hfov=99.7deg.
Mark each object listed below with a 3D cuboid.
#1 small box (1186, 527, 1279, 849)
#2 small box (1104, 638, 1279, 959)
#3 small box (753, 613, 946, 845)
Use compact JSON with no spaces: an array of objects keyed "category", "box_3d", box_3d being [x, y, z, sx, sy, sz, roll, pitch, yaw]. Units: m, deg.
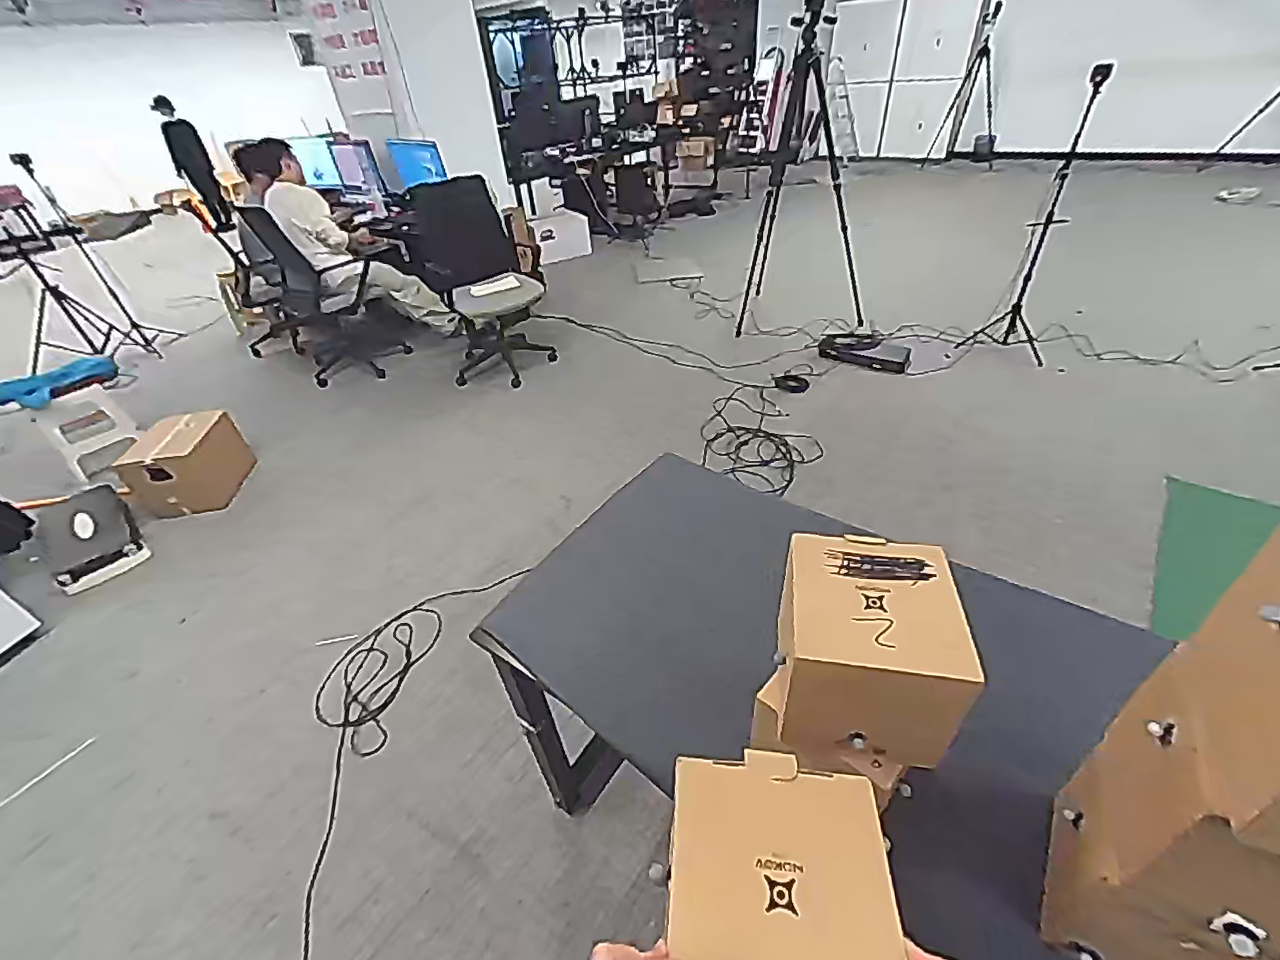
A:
[{"category":"small box","box_3d":[0.510,0.147,0.350,0.168,0.176,0.179,14,39,26]},{"category":"small box","box_3d":[0.525,0.276,0.454,0.168,0.176,0.179,16,42,28]},{"category":"small box","box_3d":[0.261,0.317,0.704,0.168,0.176,0.179,28,47,36]}]
